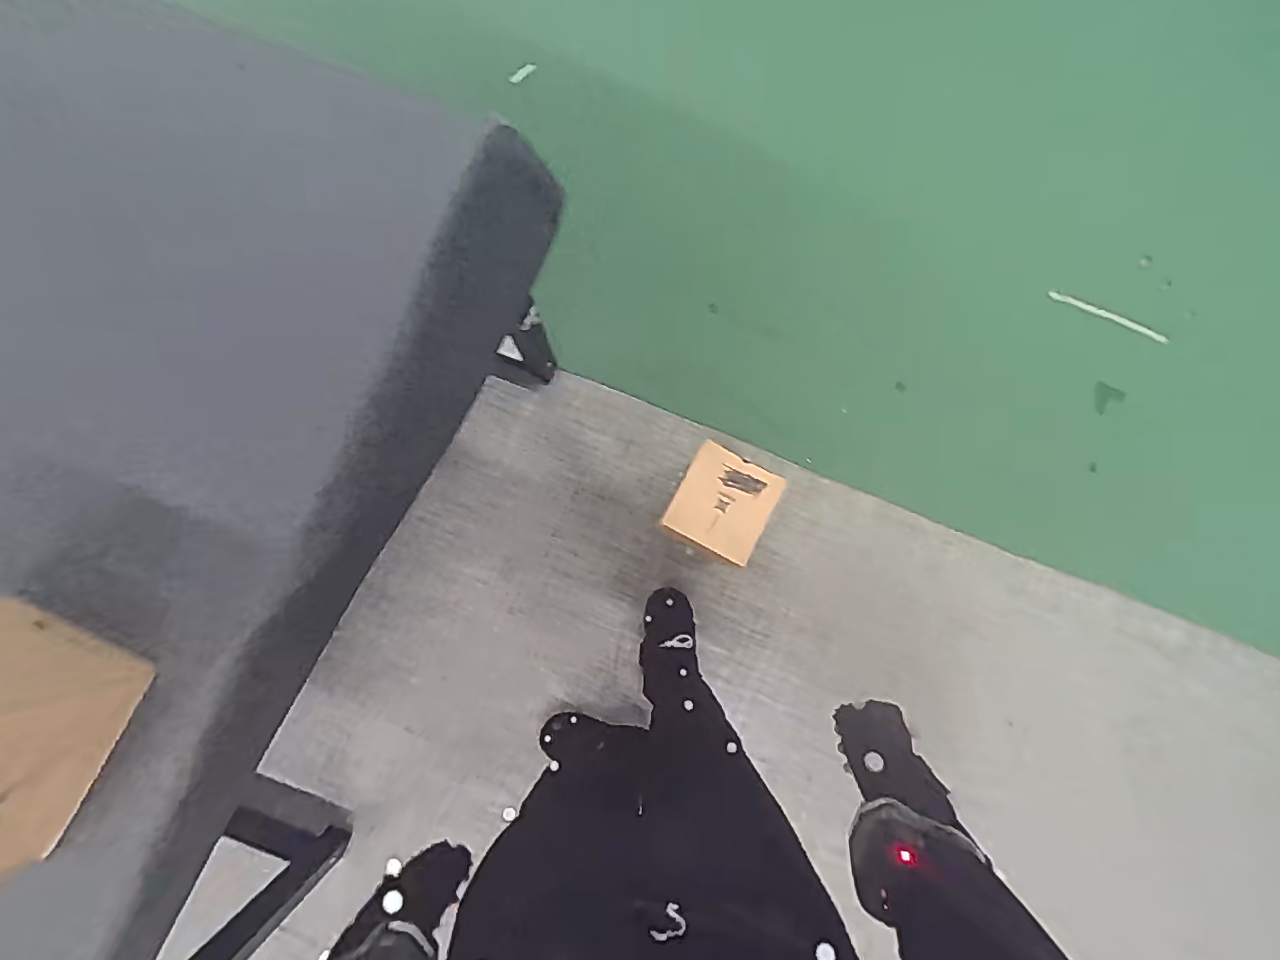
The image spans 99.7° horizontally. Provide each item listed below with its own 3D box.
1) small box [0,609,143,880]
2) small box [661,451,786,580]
[{"bbox_3d":[-0.555,0.215,0.414,0.168,0.176,0.179,24,81,3],"label":"small box"},{"bbox_3d":[0.147,0.073,1.026,0.168,0.176,0.179,28,82,5],"label":"small box"}]
